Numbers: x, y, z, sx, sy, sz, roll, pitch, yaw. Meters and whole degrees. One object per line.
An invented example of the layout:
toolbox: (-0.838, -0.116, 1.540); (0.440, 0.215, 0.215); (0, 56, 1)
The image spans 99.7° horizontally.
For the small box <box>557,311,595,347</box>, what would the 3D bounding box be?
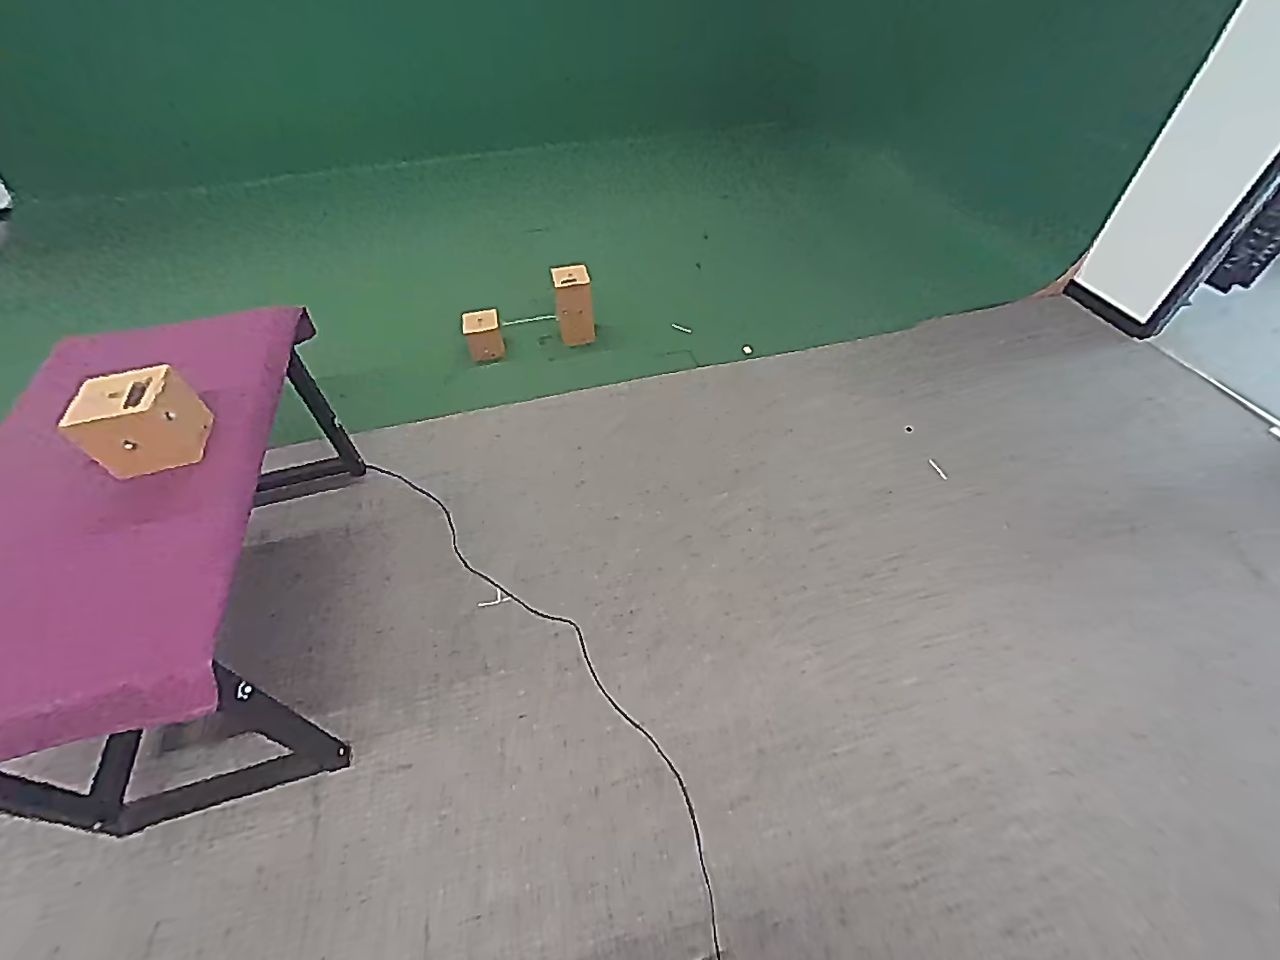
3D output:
small box: (-0.327, -0.802, 2.747); (0.168, 0.176, 0.179); (-10, 50, -8)

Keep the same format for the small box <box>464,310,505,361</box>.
small box: (-0.771, -0.715, 2.681); (0.168, 0.176, 0.179); (-12, 50, -7)

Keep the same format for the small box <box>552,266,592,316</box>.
small box: (-0.329, -0.909, 2.622); (0.168, 0.176, 0.179); (-10, 50, -8)
